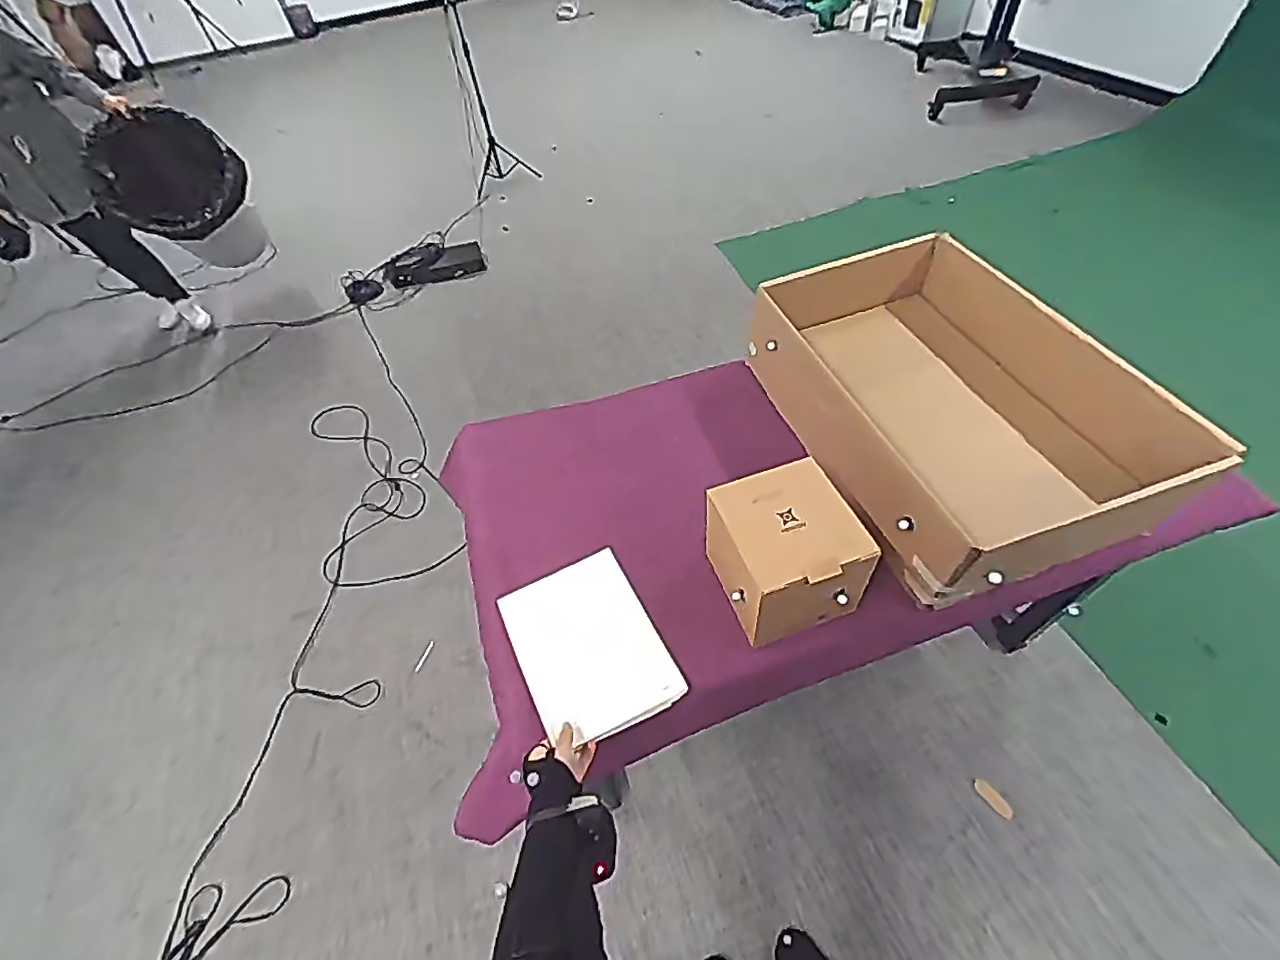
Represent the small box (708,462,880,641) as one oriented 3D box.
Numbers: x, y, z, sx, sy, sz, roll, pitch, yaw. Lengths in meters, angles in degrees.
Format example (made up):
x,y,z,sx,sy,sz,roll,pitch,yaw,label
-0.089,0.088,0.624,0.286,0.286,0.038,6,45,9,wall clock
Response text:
x,y,z,sx,sy,sz,roll,pitch,yaw,label
0.205,0.109,0.771,0.168,0.176,0.179,-17,50,-7,small box
